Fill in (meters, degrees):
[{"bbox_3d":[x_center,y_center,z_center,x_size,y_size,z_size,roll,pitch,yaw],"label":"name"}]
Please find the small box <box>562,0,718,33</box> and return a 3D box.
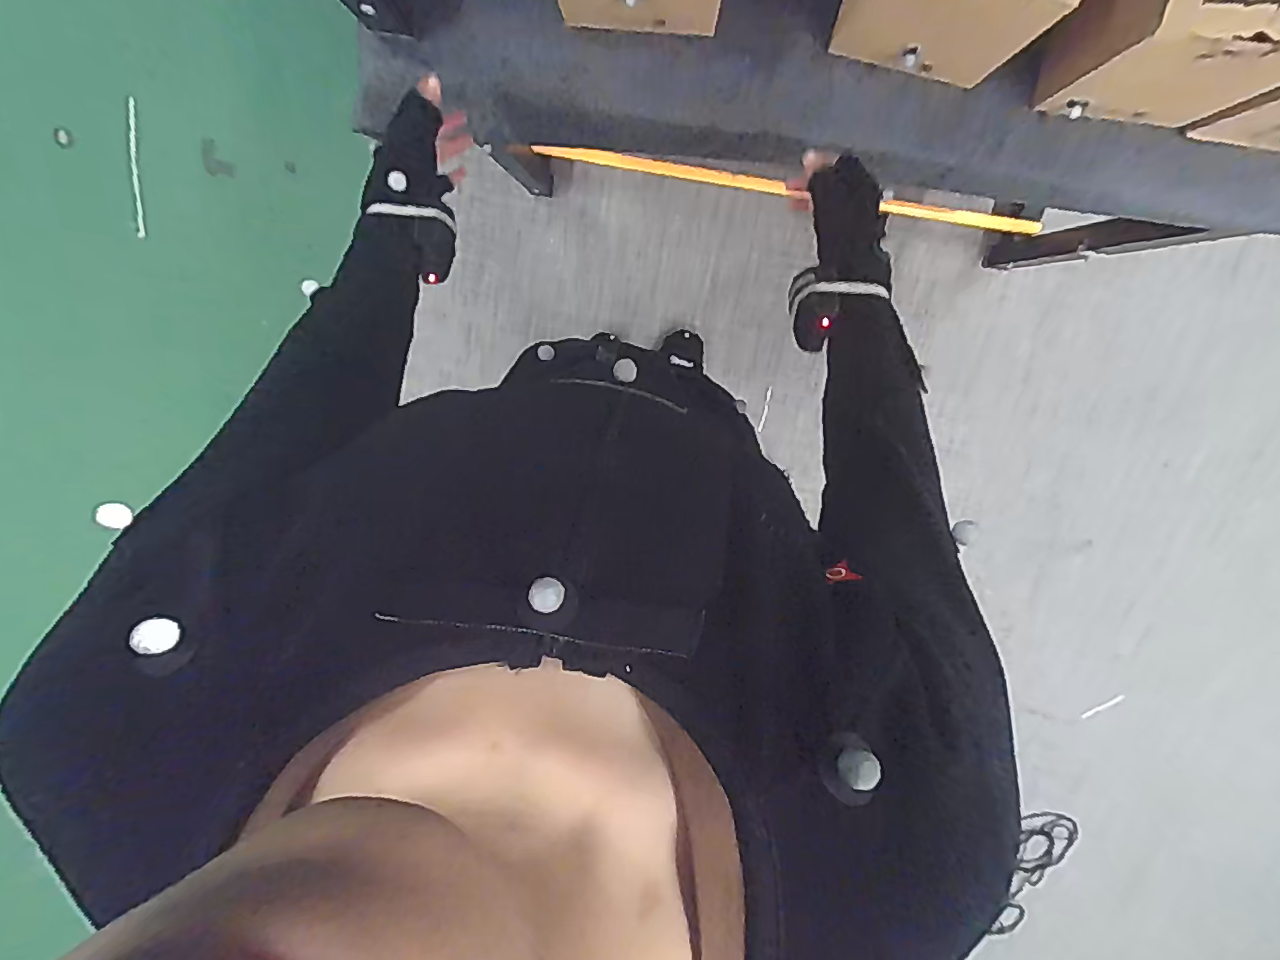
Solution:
[{"bbox_3d":[0.001,-0.551,0.492,0.168,0.176,0.179,4,105,0],"label":"small box"}]
